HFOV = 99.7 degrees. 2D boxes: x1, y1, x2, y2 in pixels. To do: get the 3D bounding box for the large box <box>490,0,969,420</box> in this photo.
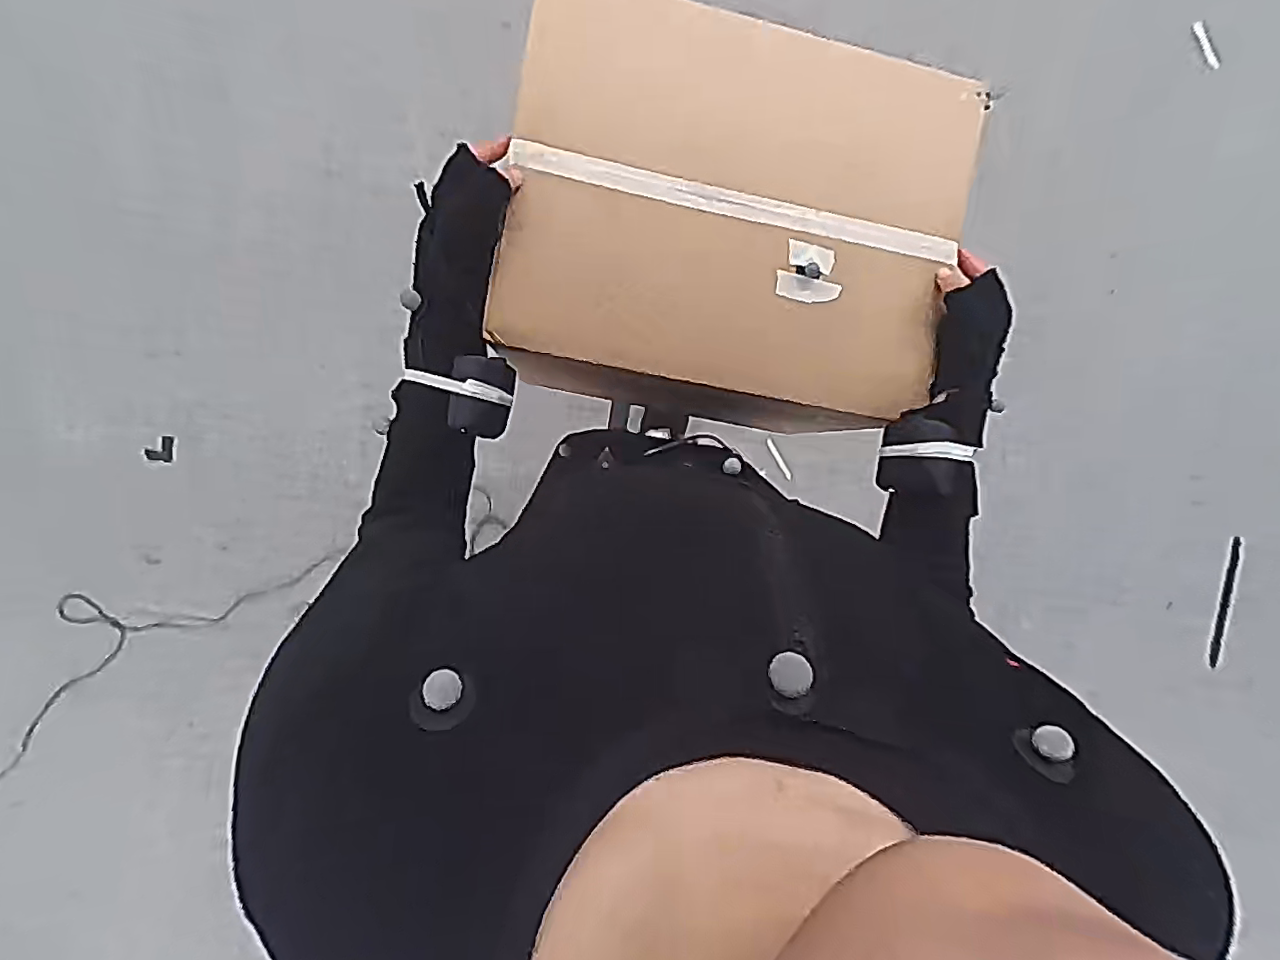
[{"bbox_3d":[0.067,-0.257,0.626,0.408,0.320,0.320,9,94,-8],"label":"large box"}]
